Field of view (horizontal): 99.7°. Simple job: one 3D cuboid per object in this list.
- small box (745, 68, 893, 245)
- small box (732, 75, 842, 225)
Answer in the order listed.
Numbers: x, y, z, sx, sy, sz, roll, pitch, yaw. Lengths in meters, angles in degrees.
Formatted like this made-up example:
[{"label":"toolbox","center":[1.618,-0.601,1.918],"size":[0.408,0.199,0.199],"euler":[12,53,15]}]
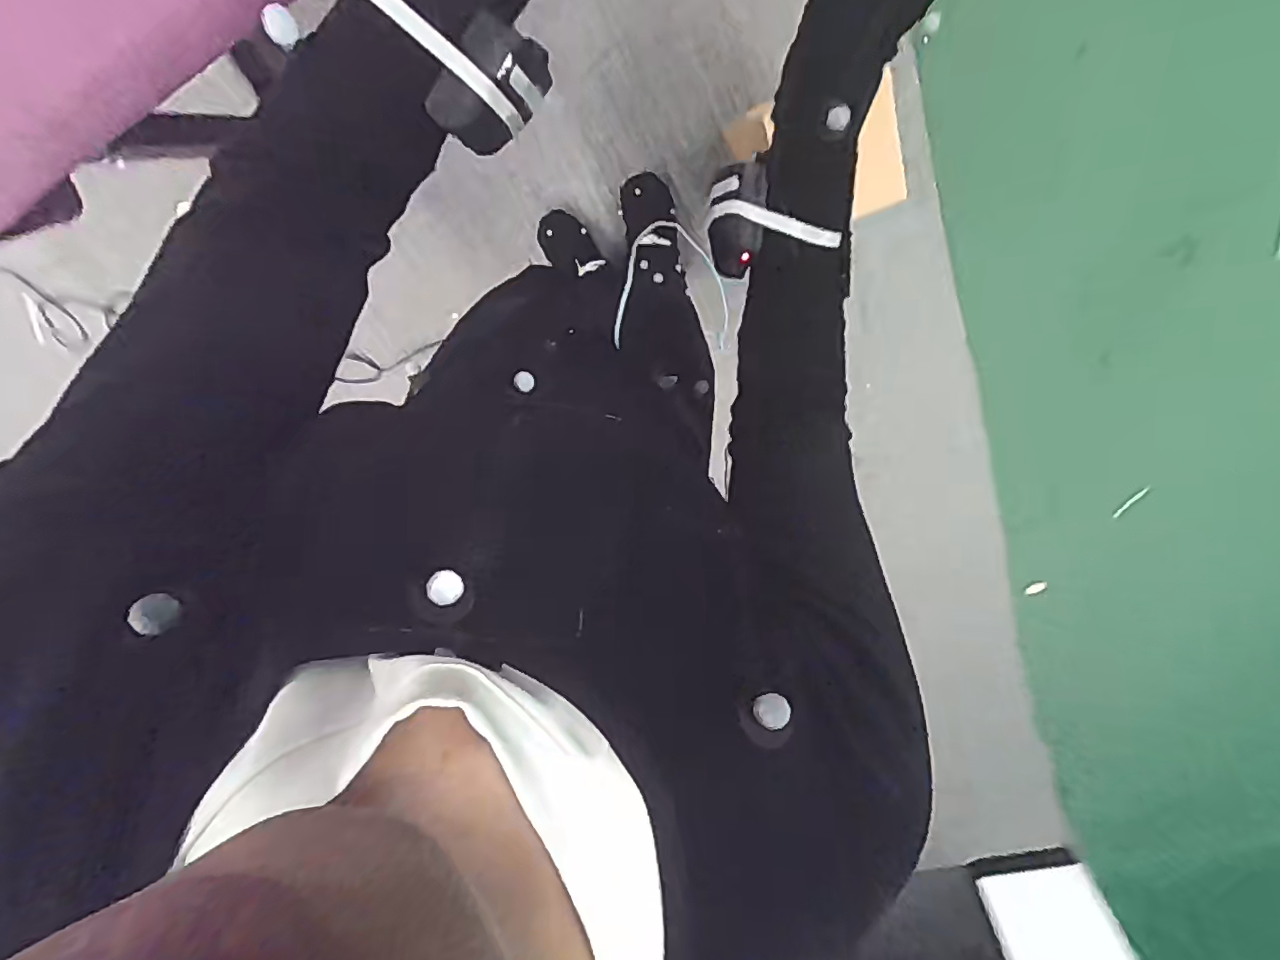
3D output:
[{"label":"small box","center":[0.267,-0.489,0.827],"size":[0.168,0.176,0.179],"euler":[-17,119,13]},{"label":"small box","center":[0.268,-0.581,0.960],"size":[0.168,0.176,0.179],"euler":[-16,120,13]}]
